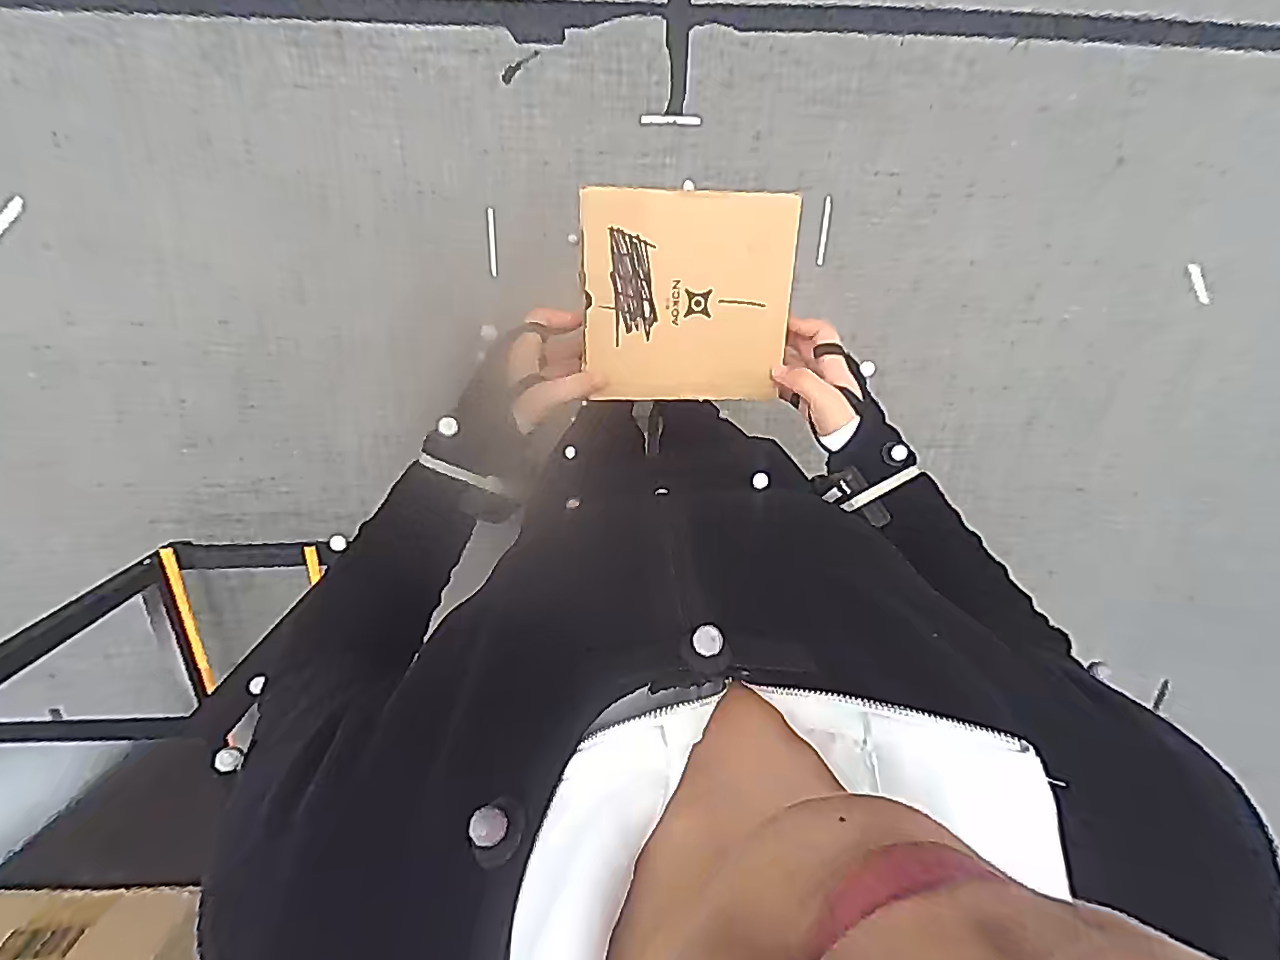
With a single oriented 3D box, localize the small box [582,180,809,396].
[{"bbox_3d":[0.037,-0.178,0.514,0.179,0.176,0.168,-2,112,-5],"label":"small box"}]
